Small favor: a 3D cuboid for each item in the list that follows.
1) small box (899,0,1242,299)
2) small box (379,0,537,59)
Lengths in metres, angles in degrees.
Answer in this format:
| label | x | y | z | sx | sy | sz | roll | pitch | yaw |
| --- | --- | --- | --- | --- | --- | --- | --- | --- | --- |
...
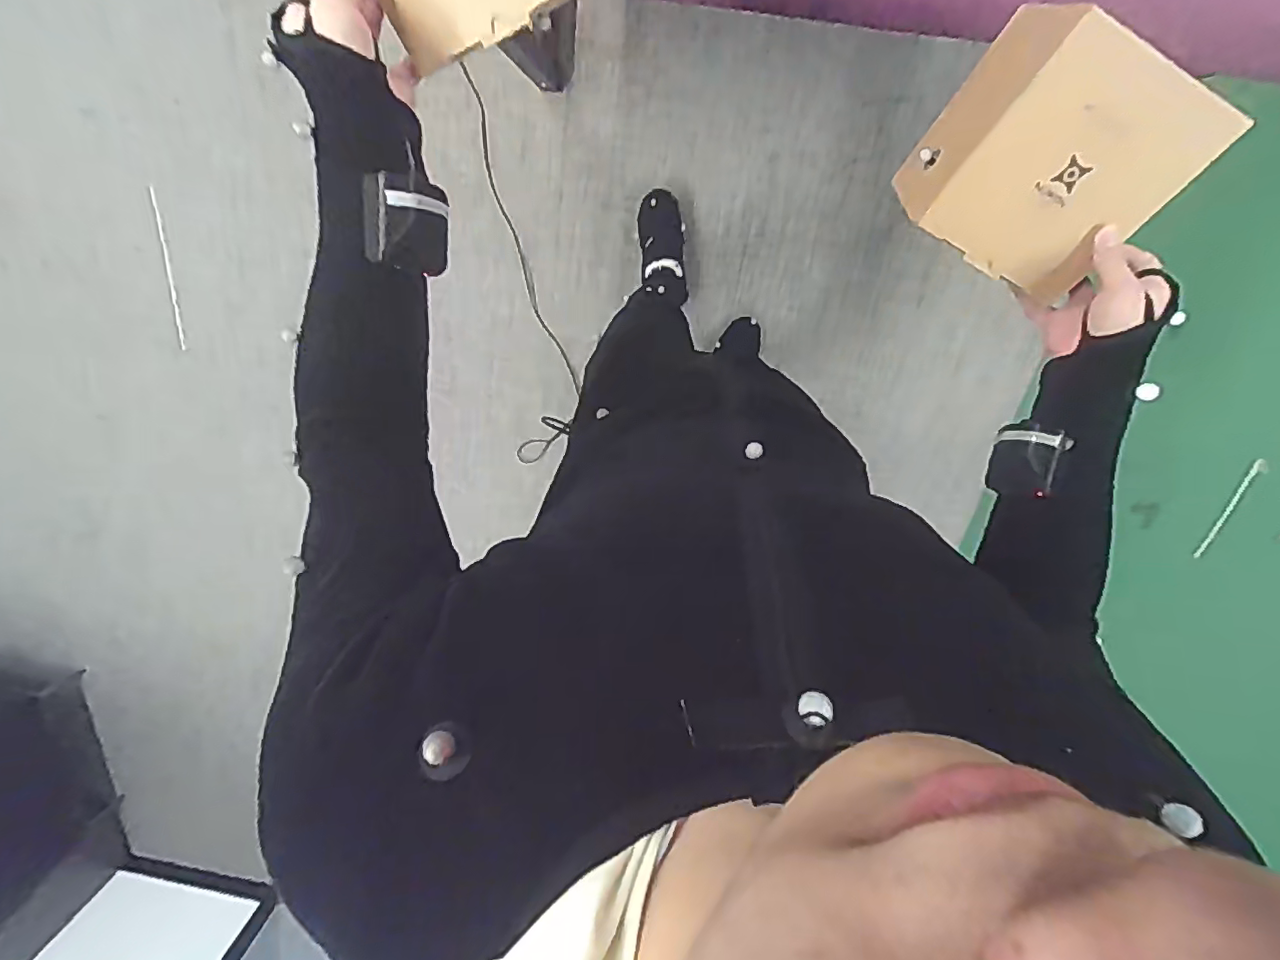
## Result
| label | x | y | z | sx | sy | sz | roll | pitch | yaw |
| --- | --- | --- | --- | --- | --- | --- | --- | --- | --- |
| small box | 0.375 | -0.315 | 0.518 | 0.168 | 0.176 | 0.179 | 27 | 132 | -8 |
| small box | -0.122 | -0.458 | 0.393 | 0.168 | 0.176 | 0.179 | -8 | 135 | 25 |
